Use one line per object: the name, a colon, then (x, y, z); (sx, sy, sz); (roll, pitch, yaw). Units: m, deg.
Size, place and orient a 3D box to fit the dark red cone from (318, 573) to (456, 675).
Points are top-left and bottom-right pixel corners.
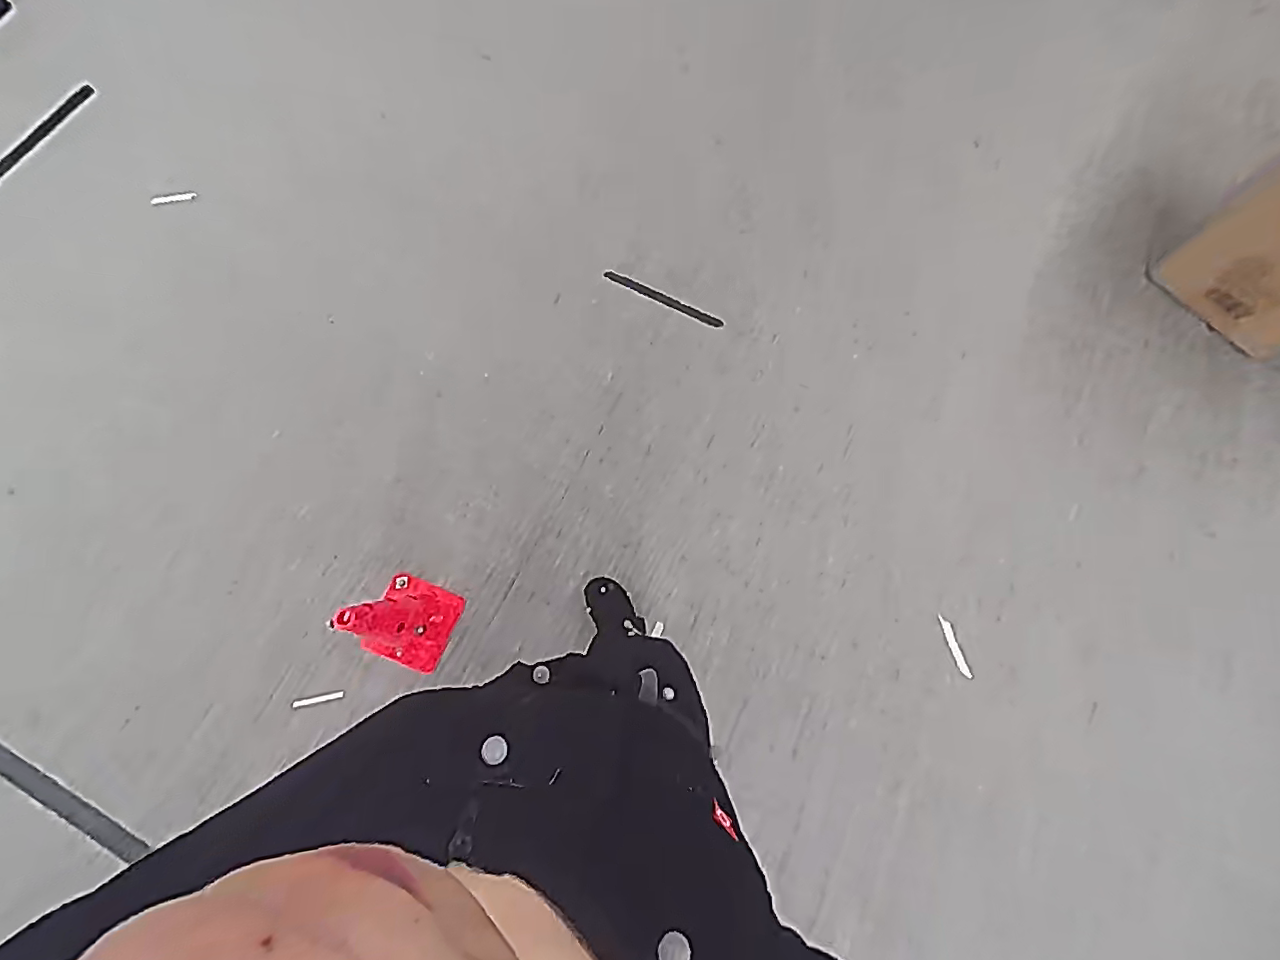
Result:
dark red cone: (-0.559, 0.305, 1.142); (0.202, 0.394, 0.201); (20, 76, 4)
